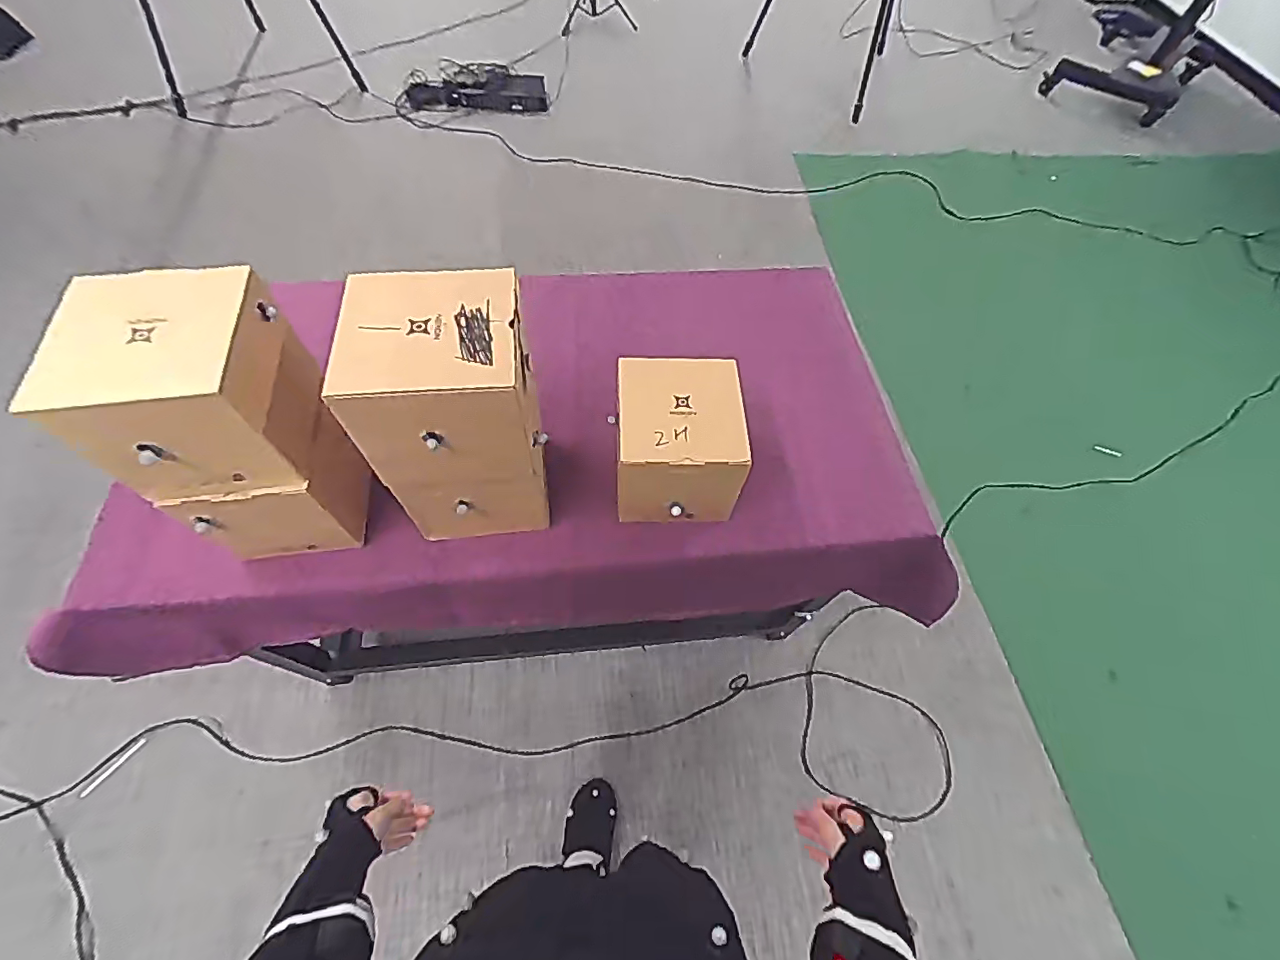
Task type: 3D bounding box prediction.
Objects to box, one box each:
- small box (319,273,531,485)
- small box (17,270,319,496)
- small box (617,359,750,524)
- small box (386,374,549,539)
[{"bbox_3d":[-0.216,-0.106,0.604,0.179,0.176,0.168,-4,60,-5],"label":"small box"},{"bbox_3d":[-0.475,-0.095,0.585,0.168,0.176,0.179,-8,59,-8],"label":"small box"},{"bbox_3d":[0.050,-0.052,0.775,0.168,0.176,0.179,-1,60,-3],"label":"small box"},{"bbox_3d":[-0.225,-0.028,0.749,0.179,0.176,0.168,-5,61,-6],"label":"small box"}]
